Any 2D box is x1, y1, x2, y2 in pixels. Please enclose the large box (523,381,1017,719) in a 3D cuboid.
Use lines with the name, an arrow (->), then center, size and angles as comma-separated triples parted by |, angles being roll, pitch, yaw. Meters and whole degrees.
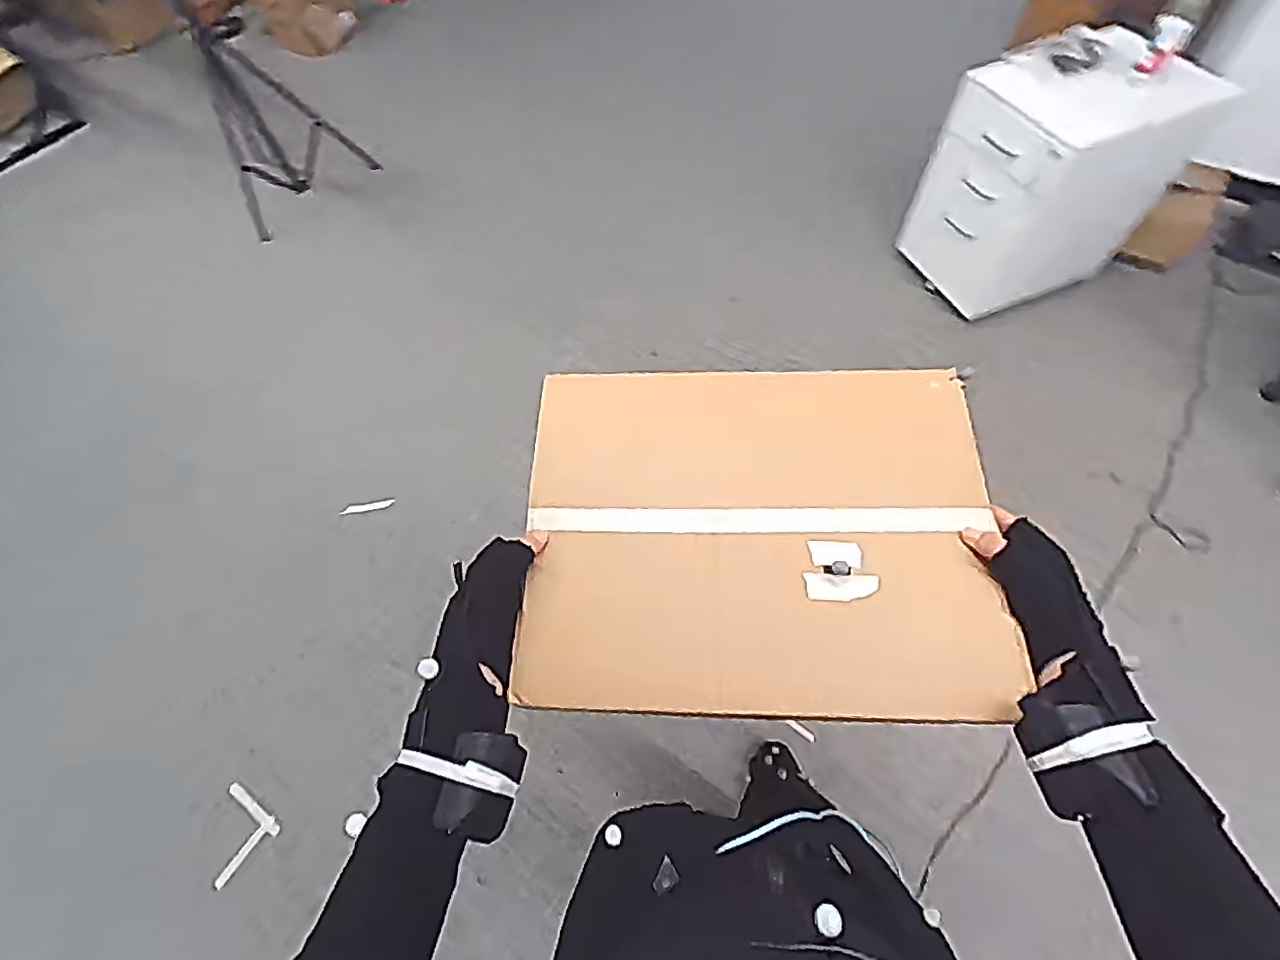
large box -> 0.107, 0.105, 0.627 | 0.408, 0.320, 0.320 | -1, 67, 4
